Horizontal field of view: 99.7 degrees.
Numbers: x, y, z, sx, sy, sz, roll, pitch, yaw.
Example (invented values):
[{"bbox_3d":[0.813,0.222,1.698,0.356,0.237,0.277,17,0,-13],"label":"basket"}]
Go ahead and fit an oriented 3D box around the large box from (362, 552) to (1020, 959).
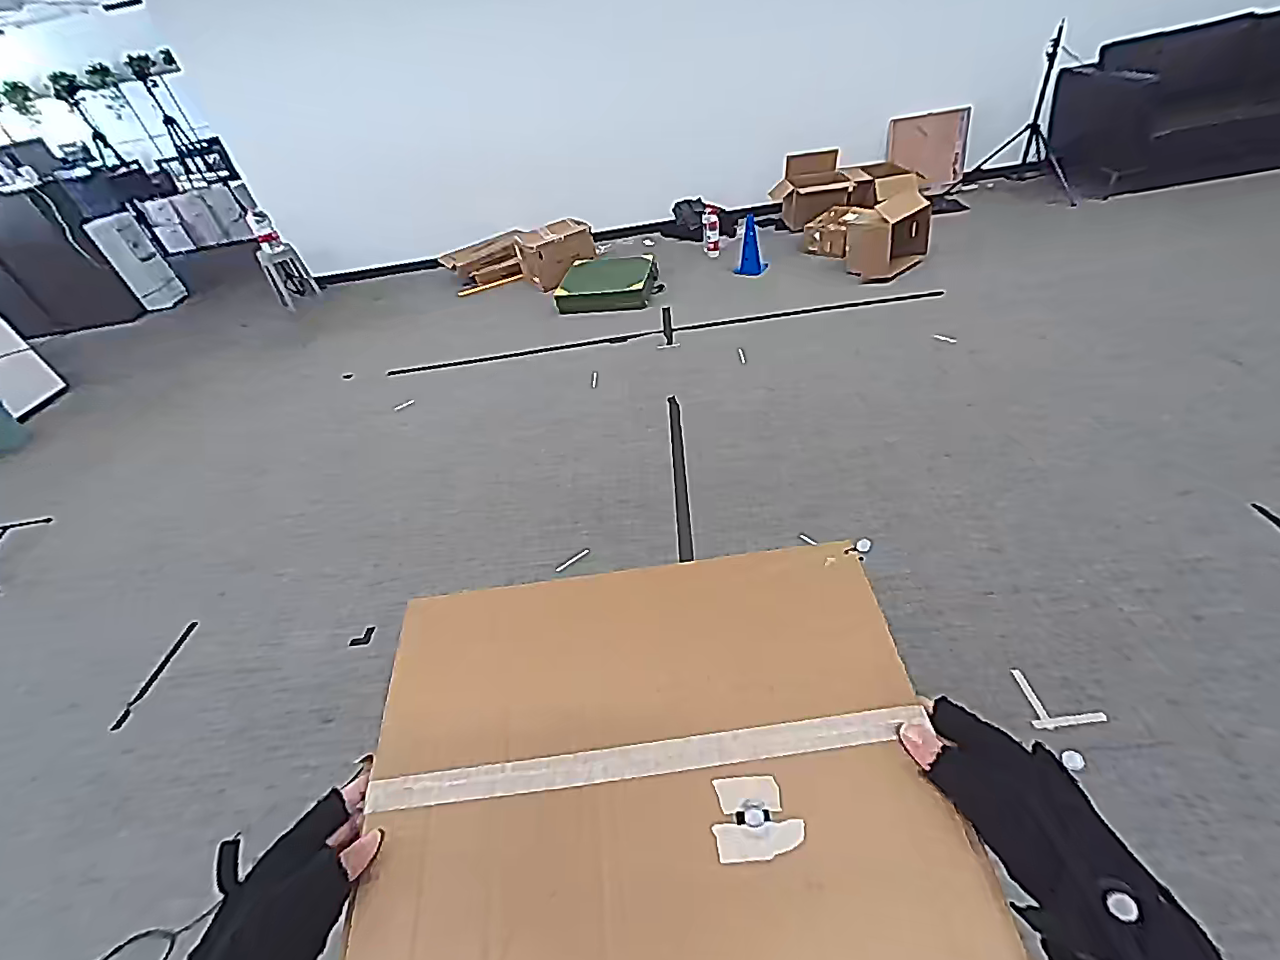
[{"bbox_3d":[0.022,0.305,0.512,0.408,0.320,0.320,-8,50,0],"label":"large box"}]
